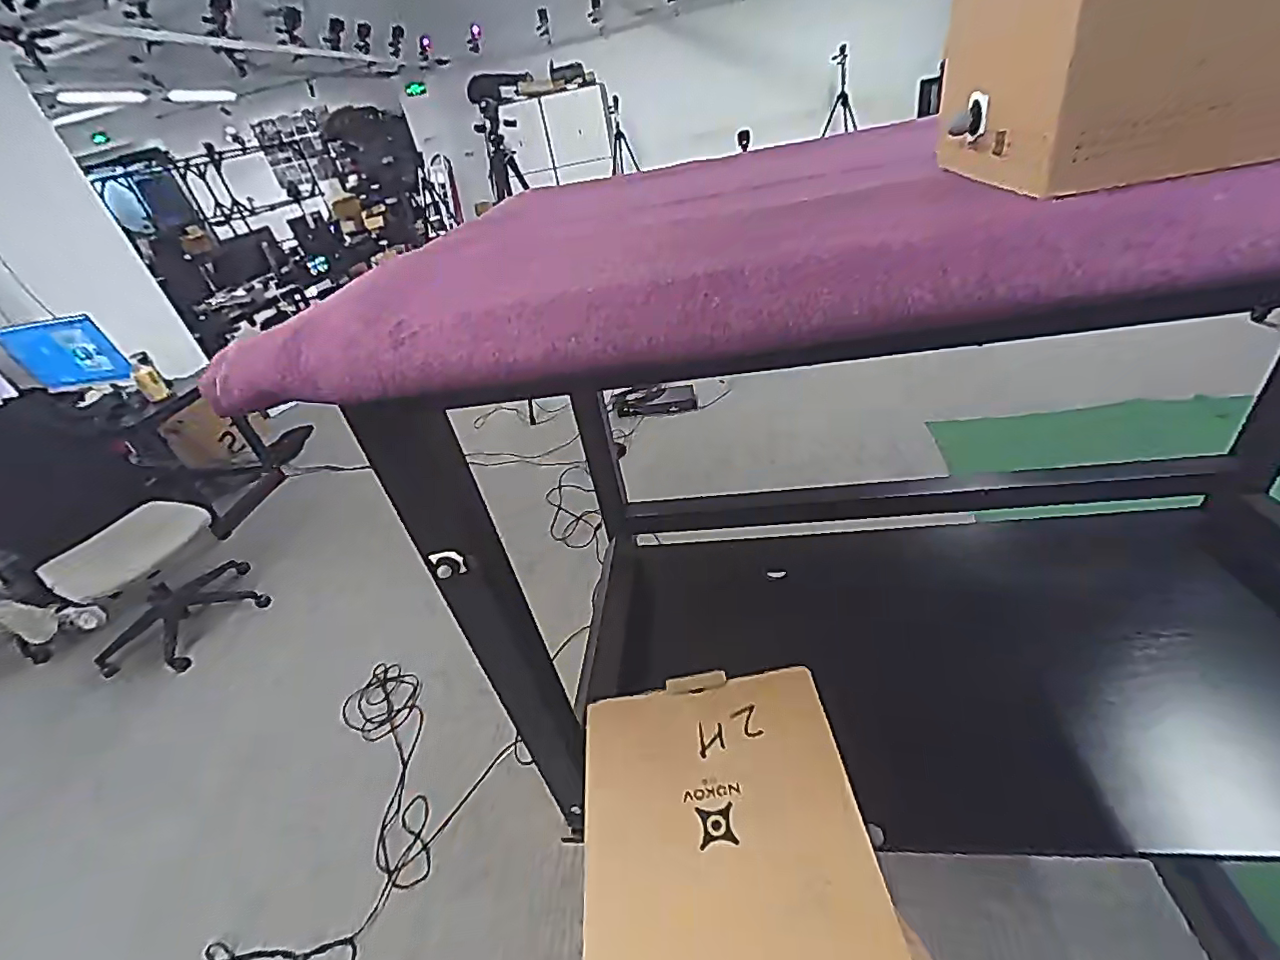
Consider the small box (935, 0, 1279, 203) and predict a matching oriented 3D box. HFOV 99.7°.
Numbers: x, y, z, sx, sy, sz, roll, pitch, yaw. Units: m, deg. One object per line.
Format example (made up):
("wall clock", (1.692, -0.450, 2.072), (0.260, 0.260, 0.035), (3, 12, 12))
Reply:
("small box", (0.294, -0.275, 0.306), (0.179, 0.176, 0.168), (-7, 35, 9))
